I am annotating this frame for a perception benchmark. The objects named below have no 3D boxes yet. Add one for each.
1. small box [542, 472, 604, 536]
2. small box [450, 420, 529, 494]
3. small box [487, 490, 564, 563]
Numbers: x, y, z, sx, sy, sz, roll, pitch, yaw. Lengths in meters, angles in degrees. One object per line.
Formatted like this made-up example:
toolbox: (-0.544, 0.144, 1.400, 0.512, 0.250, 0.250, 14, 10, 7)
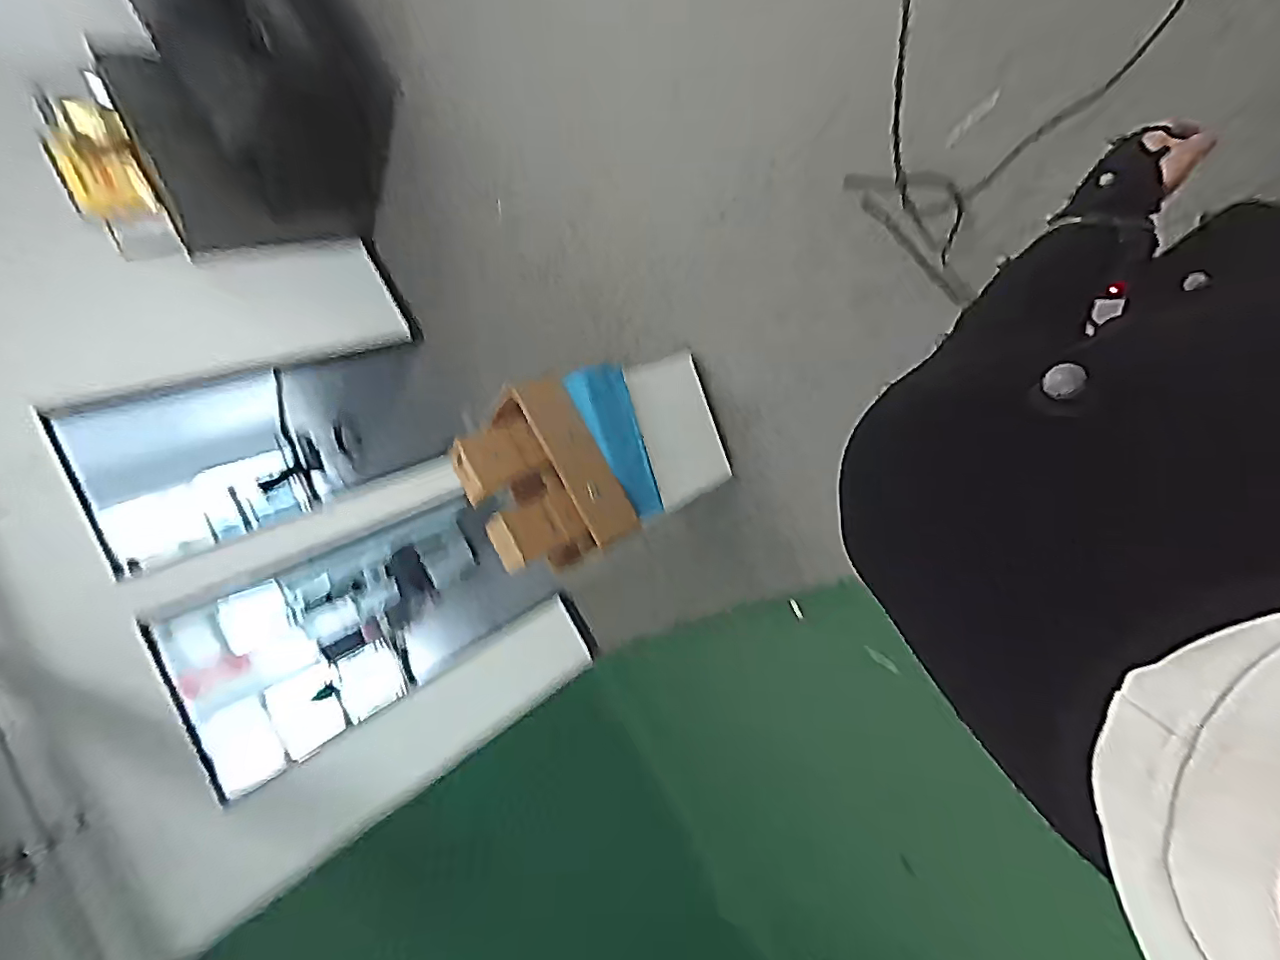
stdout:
small box: (-0.251, 0.092, 1.865, 0.179, 0.176, 0.168, -33, 84, 55)
small box: (-0.497, -0.082, 1.786, 0.179, 0.176, 0.168, 61, 145, 3)
small box: (-0.373, 0.152, 1.775, 0.179, 0.176, 0.168, -33, 84, 54)
